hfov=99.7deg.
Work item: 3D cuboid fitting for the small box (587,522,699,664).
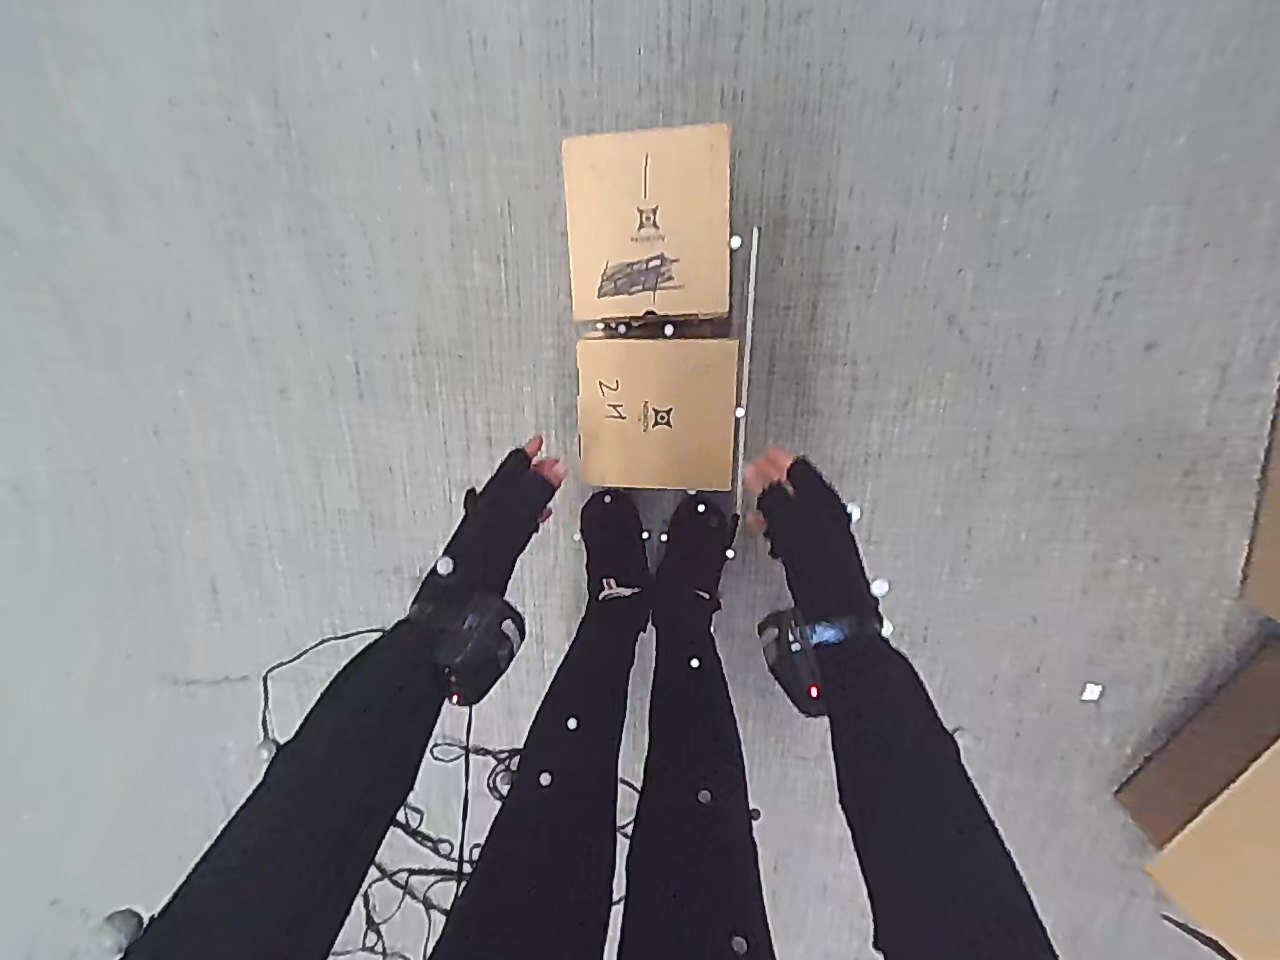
[{"bbox_3d":[-0.001,0.195,0.955,0.168,0.176,0.179,6,111,-6],"label":"small box"}]
